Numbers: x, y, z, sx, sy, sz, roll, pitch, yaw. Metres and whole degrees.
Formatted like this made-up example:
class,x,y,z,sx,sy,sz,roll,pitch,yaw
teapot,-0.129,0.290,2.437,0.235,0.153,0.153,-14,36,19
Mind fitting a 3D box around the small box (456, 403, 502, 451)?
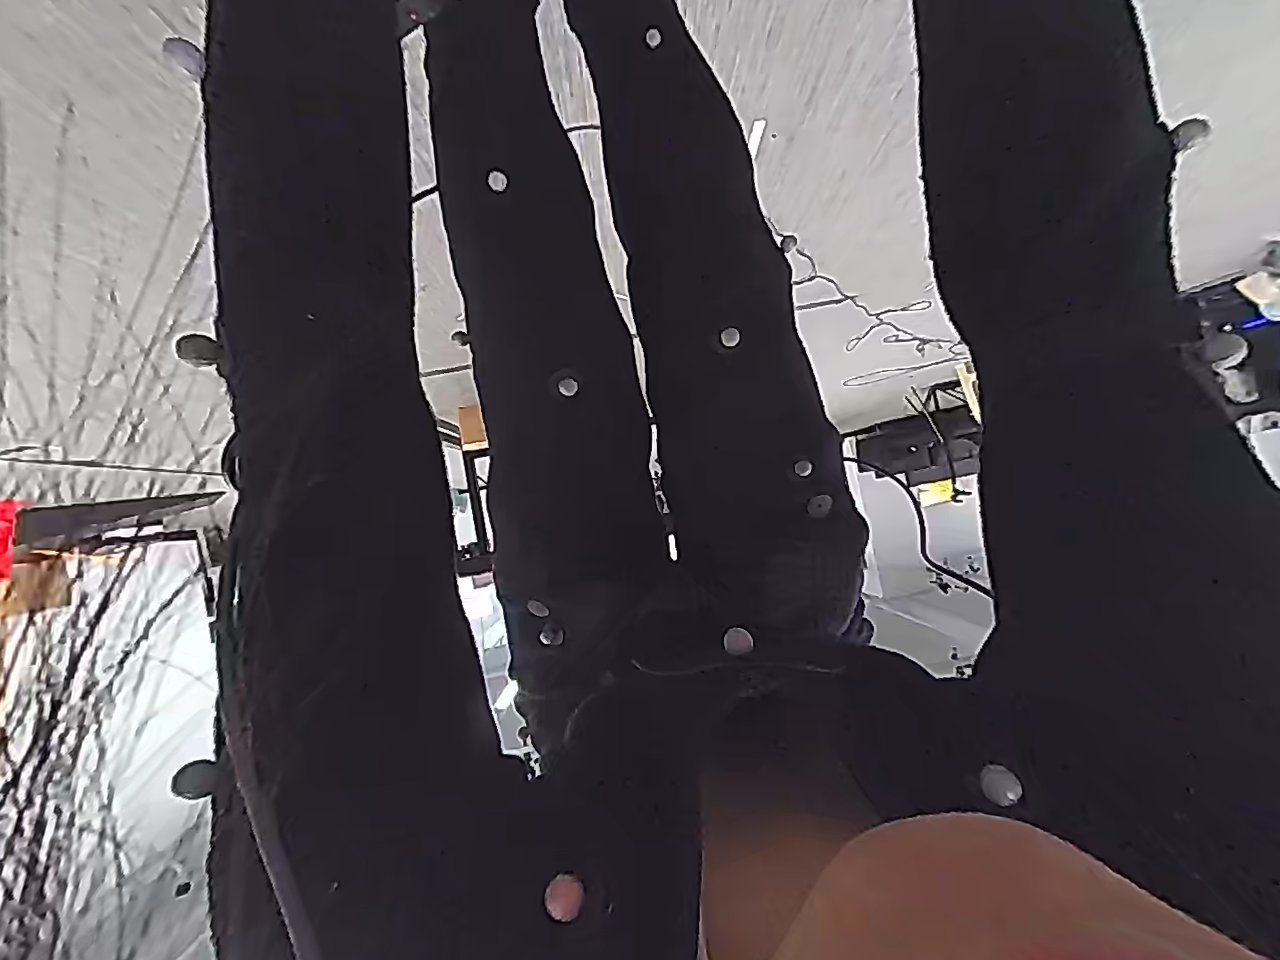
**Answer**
class,x,y,z,sx,sy,sz,roll,pitch,yaw
small box,-0.744,-0.244,2.485,0.179,0.176,0.168,-11,177,-19
